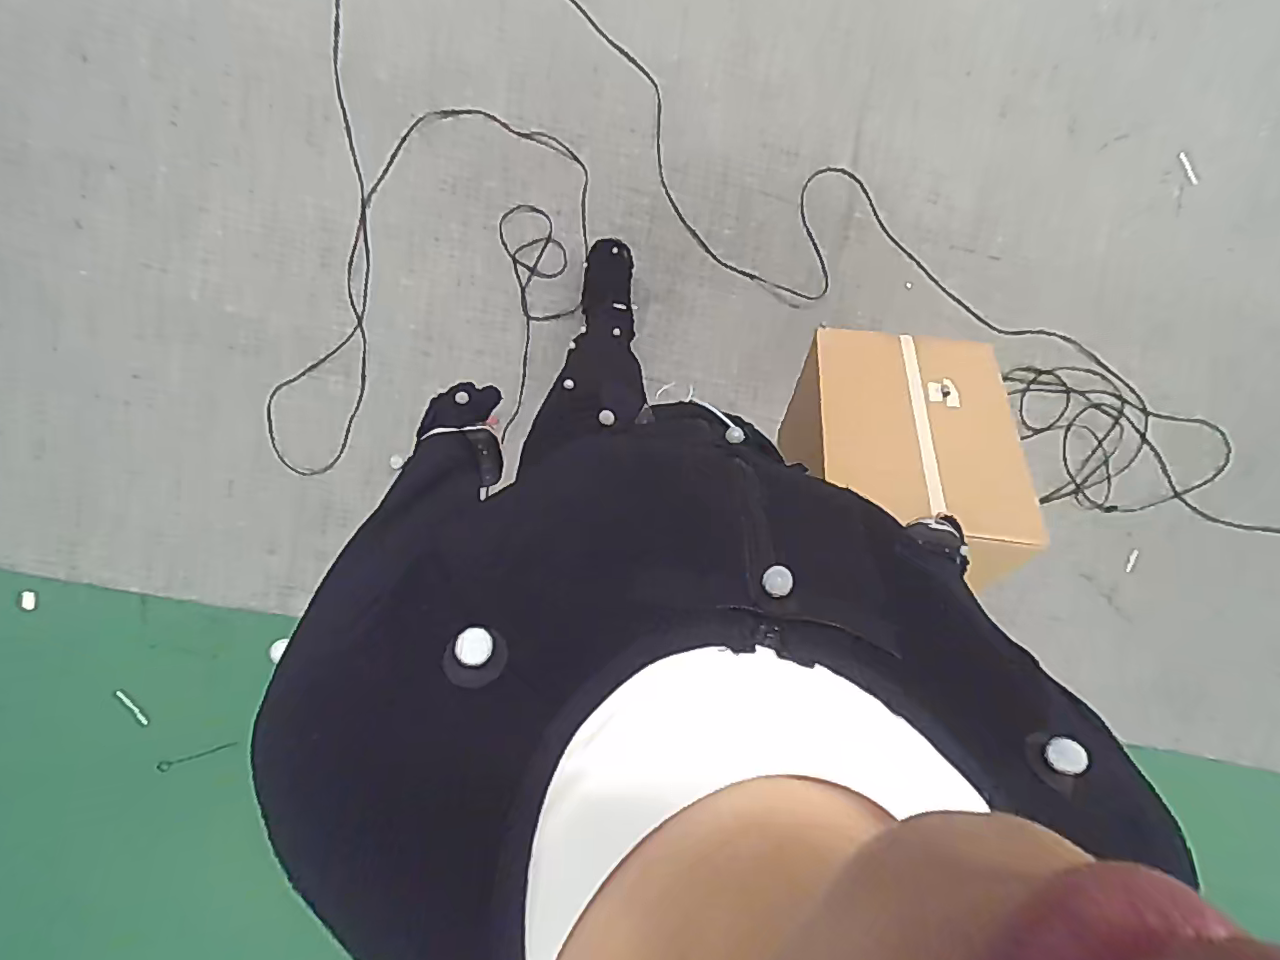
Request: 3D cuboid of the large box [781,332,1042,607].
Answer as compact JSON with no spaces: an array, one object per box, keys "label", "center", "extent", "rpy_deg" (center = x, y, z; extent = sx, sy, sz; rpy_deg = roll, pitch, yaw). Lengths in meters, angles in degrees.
[{"label":"large box","center":[0.450,-0.013,1.012],"extent":[0.320,0.320,0.408],"rpy_deg":[7,58,3]}]
